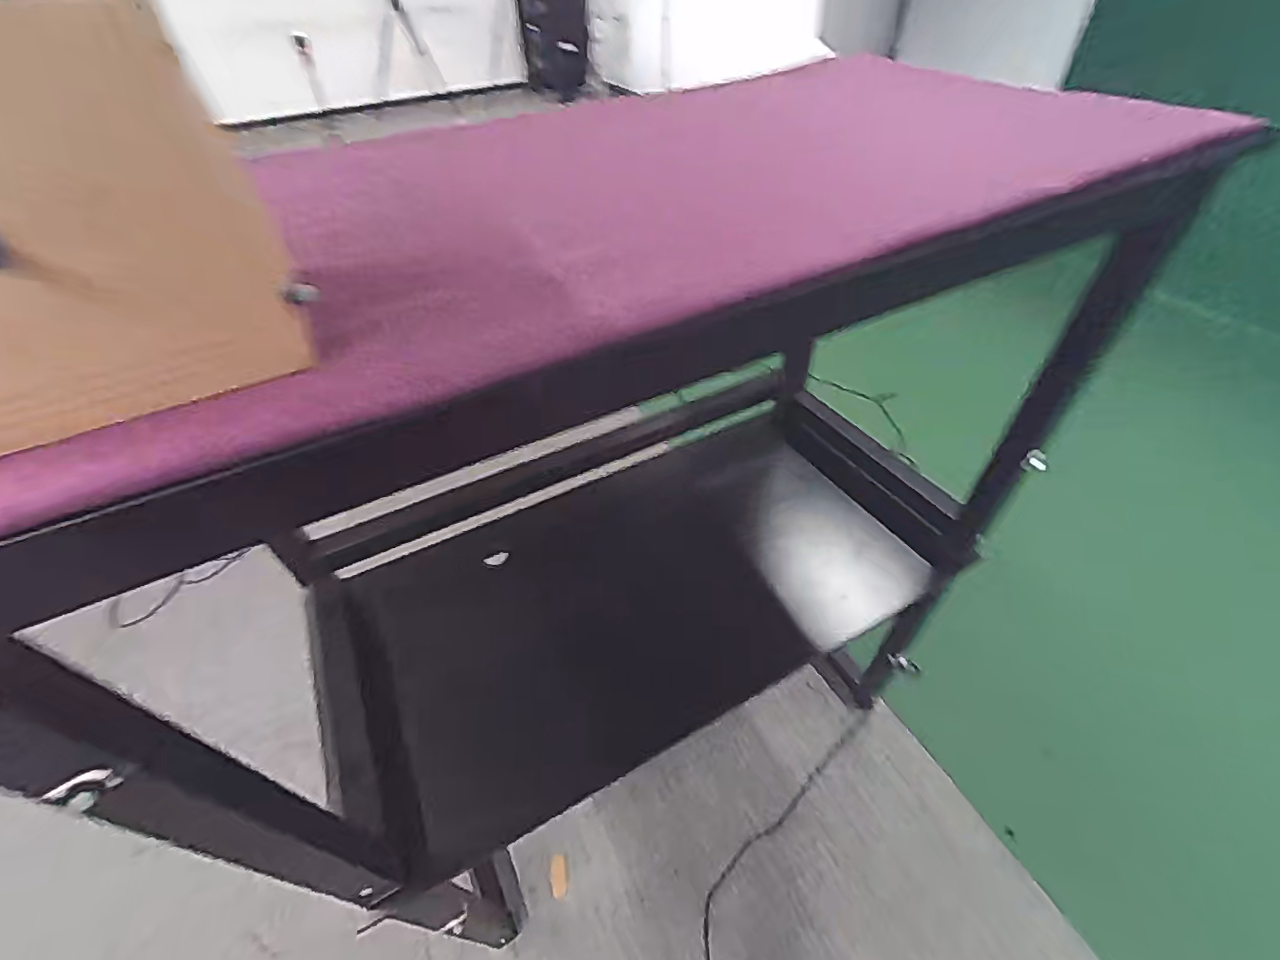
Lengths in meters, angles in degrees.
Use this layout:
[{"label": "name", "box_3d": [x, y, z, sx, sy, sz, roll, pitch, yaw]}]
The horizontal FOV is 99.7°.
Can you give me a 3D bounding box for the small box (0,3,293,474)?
[{"label": "small box", "box_3d": [-0.314, -0.131, 0.289, 0.179, 0.176, 0.168, -25, 48, -18]}]
